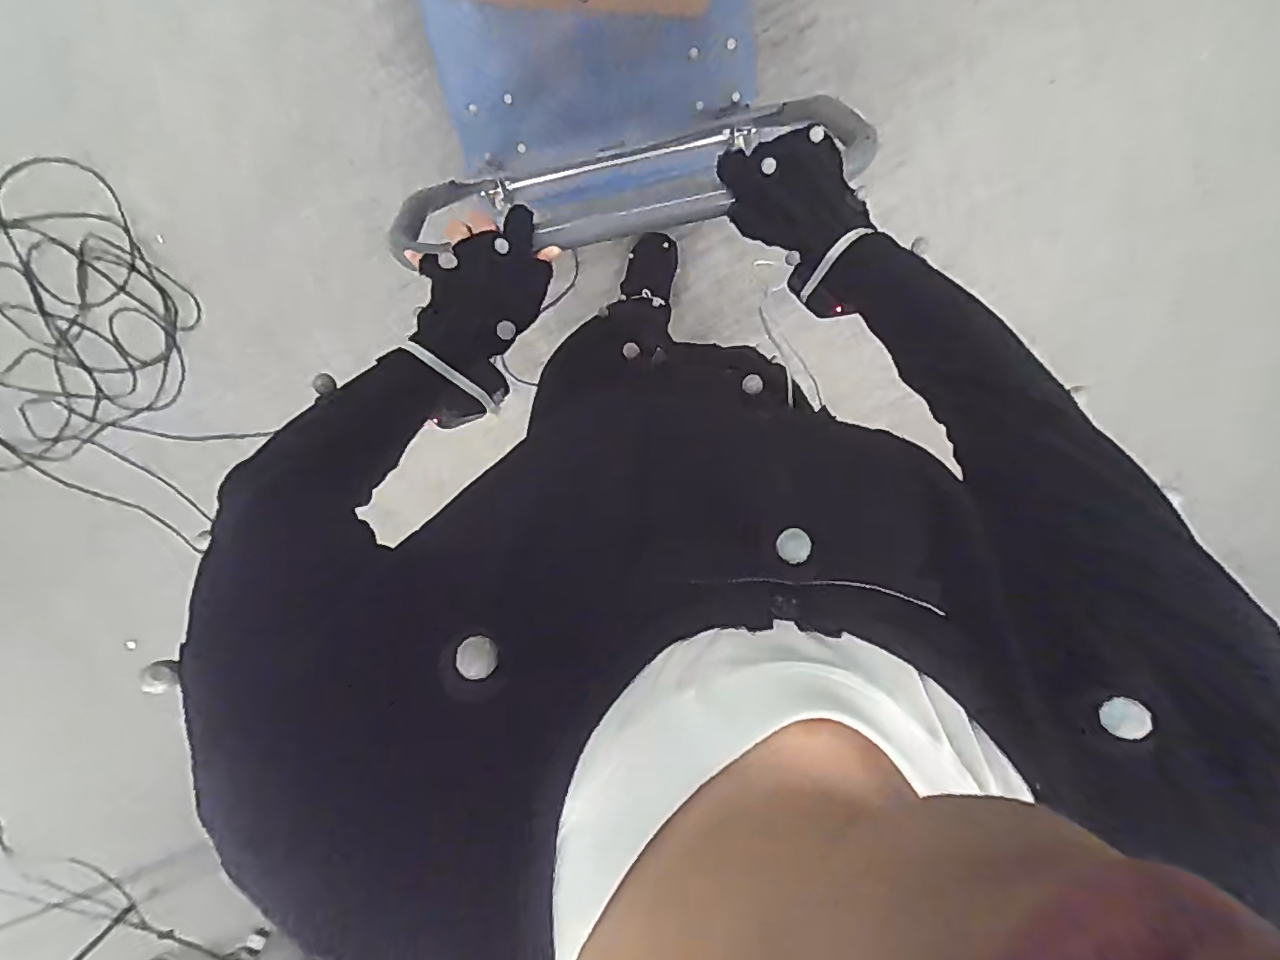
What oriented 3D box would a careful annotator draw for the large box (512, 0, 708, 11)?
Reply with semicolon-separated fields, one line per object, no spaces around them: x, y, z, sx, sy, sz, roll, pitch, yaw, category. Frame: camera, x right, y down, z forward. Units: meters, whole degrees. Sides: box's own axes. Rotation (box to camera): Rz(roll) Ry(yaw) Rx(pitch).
-0.075;-0.892;0.750;0.408;0.320;0.320;3;119;-2;large box
